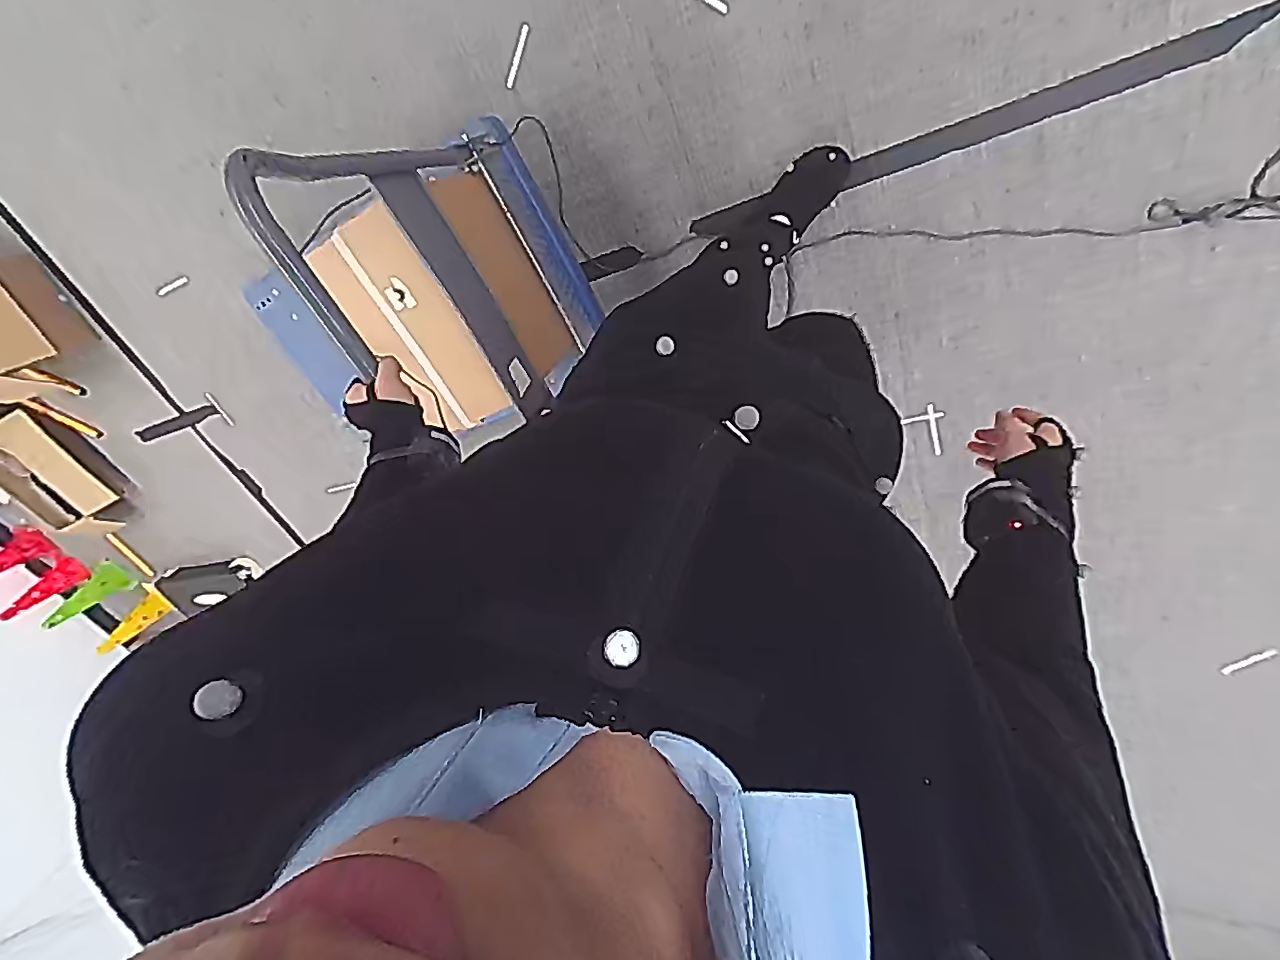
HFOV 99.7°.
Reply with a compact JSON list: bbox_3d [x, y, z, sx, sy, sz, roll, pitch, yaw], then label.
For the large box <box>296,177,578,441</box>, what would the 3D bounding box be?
[{"bbox_3d":[-0.397,-0.360,1.154,0.320,0.320,0.408,-18,116,25],"label":"large box"}]
